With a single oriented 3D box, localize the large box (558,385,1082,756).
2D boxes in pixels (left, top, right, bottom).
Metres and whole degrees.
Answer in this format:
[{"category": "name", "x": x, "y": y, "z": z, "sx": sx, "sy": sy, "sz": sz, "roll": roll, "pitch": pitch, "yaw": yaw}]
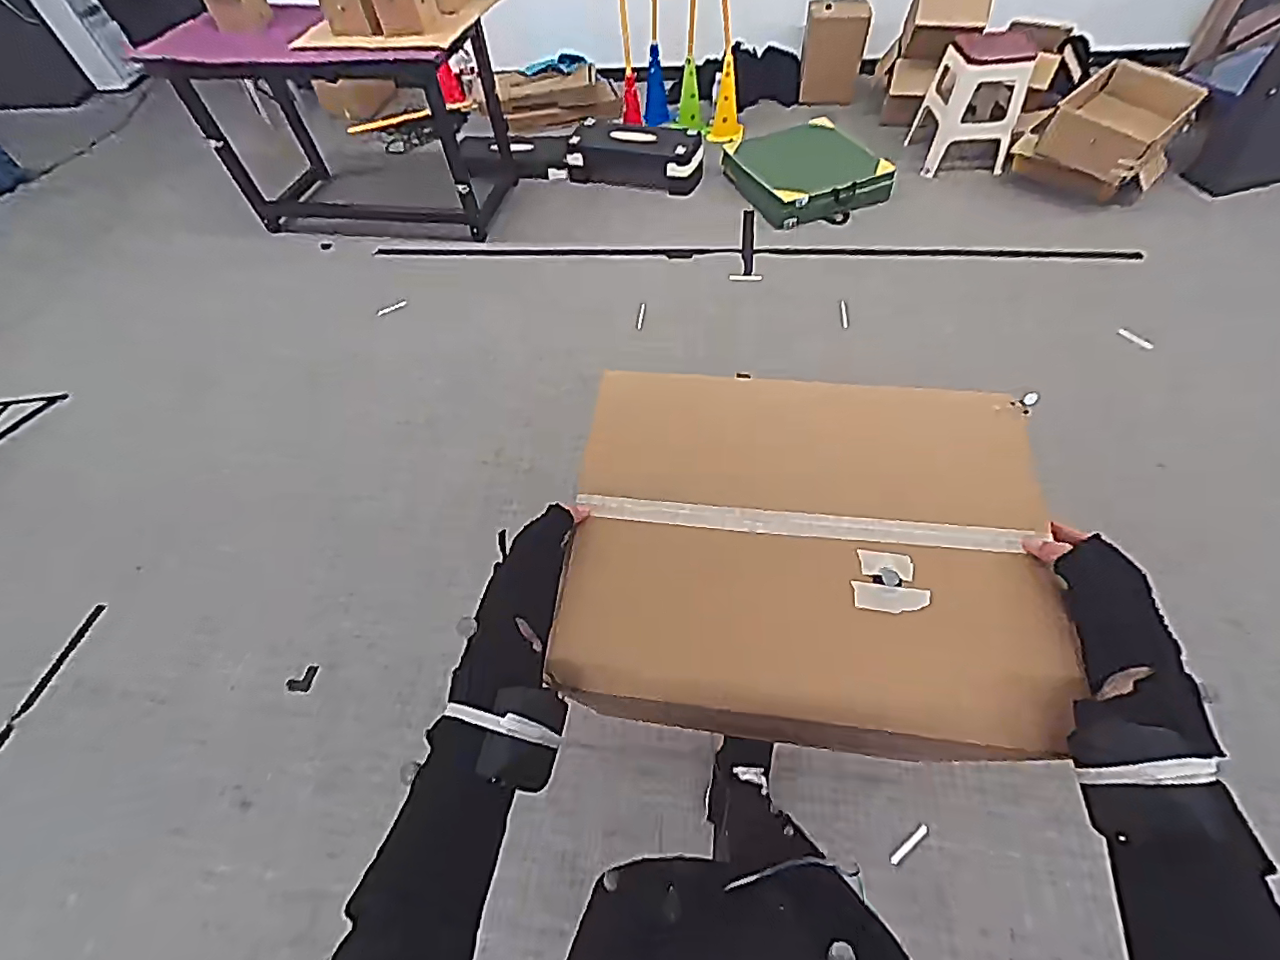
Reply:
[{"category": "large box", "x": 0.153, "y": 0.117, "z": 0.613, "sx": 0.408, "sy": 0.320, "sz": 0.320, "roll": 5, "pitch": 64, "yaw": 6}]
